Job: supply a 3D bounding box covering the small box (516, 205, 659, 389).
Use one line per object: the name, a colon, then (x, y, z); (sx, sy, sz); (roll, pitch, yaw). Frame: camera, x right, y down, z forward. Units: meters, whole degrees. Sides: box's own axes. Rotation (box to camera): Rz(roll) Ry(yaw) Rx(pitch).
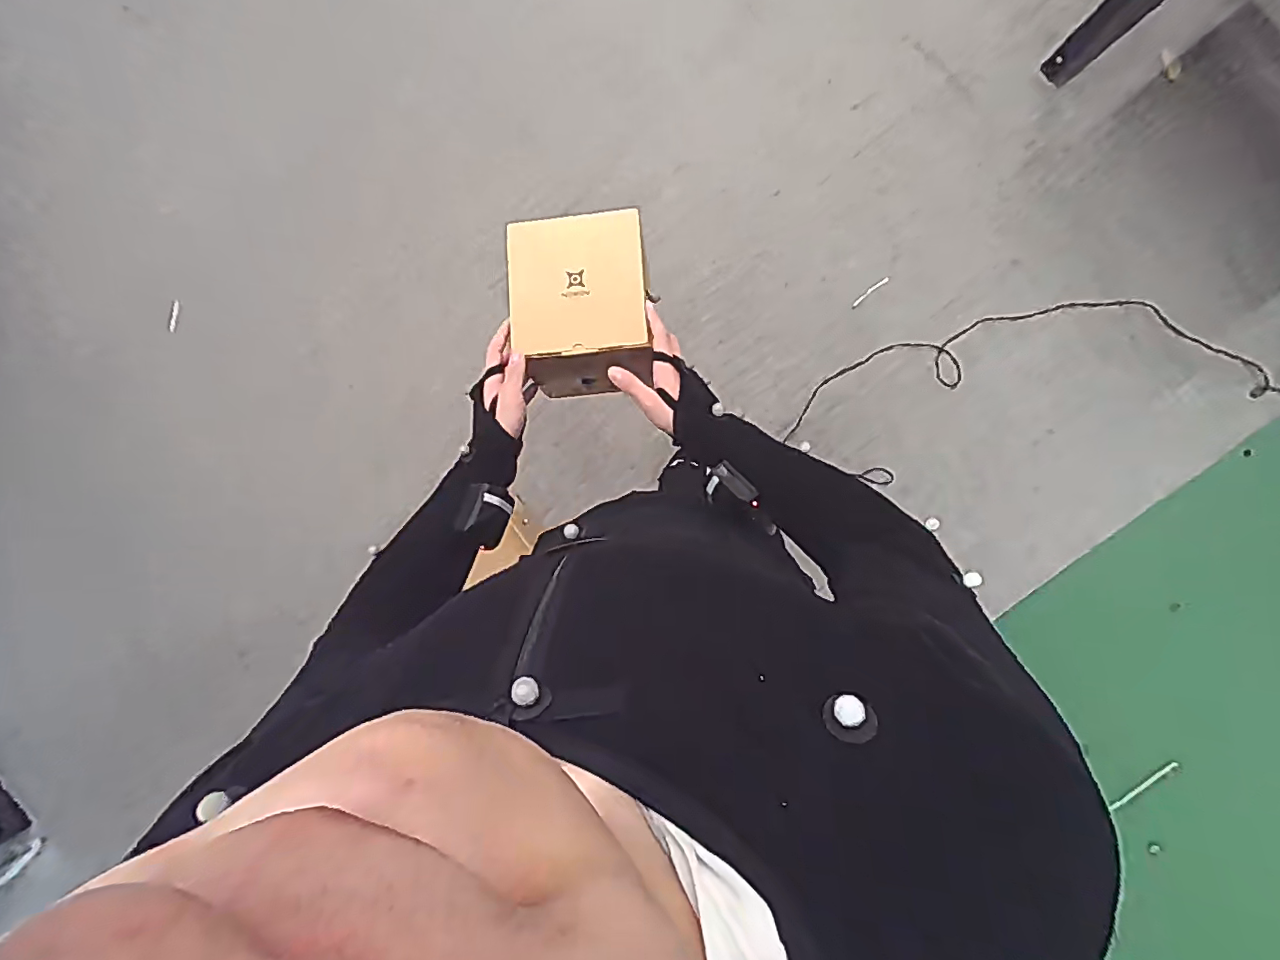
small box: (-0.062, -0.233, 0.725); (0.168, 0.176, 0.179); (-4, 84, 4)
